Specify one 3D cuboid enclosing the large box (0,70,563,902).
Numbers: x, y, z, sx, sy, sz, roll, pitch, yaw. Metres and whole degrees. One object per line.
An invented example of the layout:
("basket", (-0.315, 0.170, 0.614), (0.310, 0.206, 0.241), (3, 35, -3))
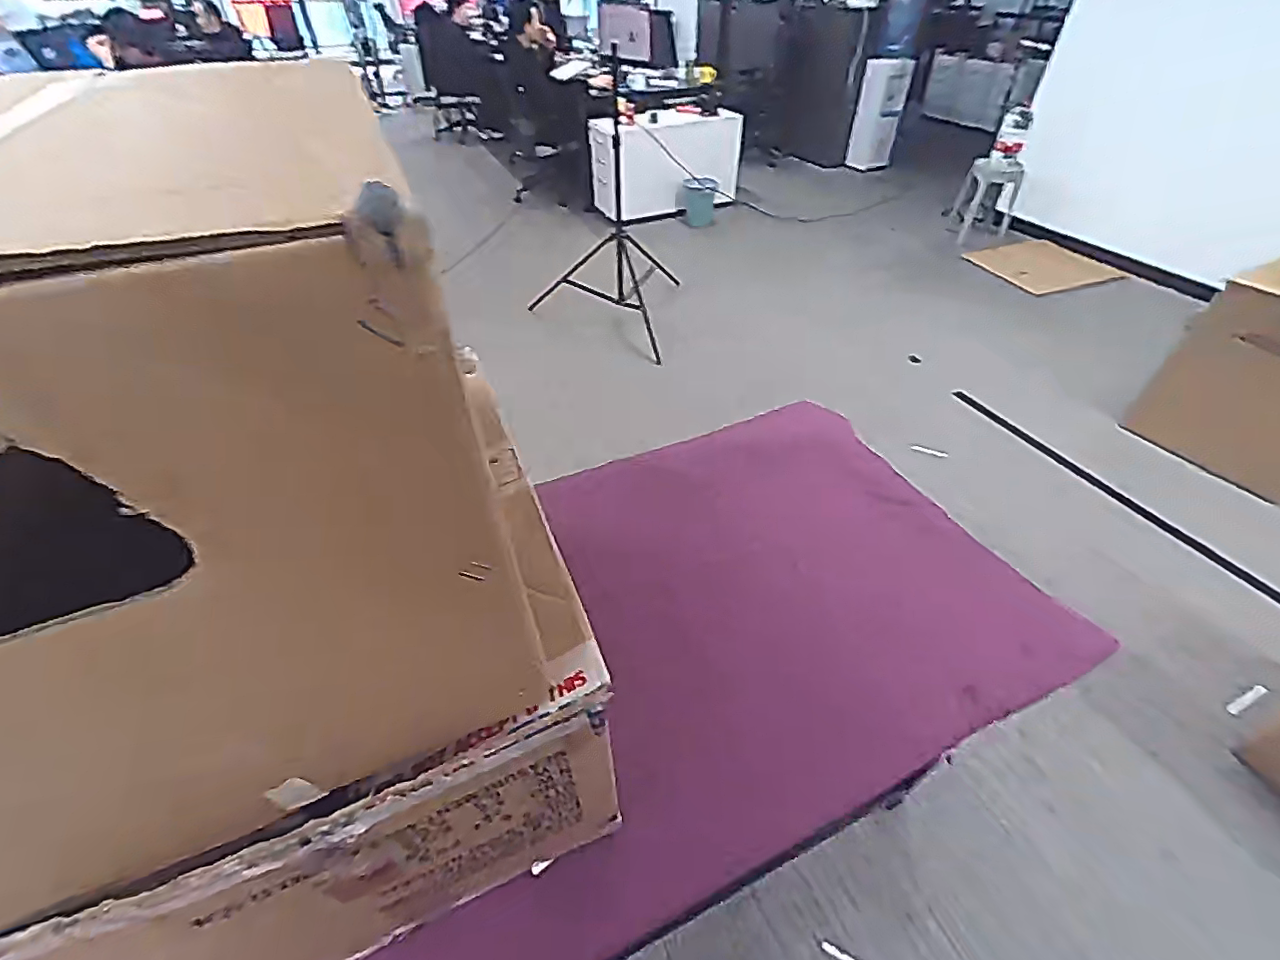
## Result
("large box", (-0.274, -0.046, 0.358), (0.320, 0.320, 0.408), (-20, 47, -16))
